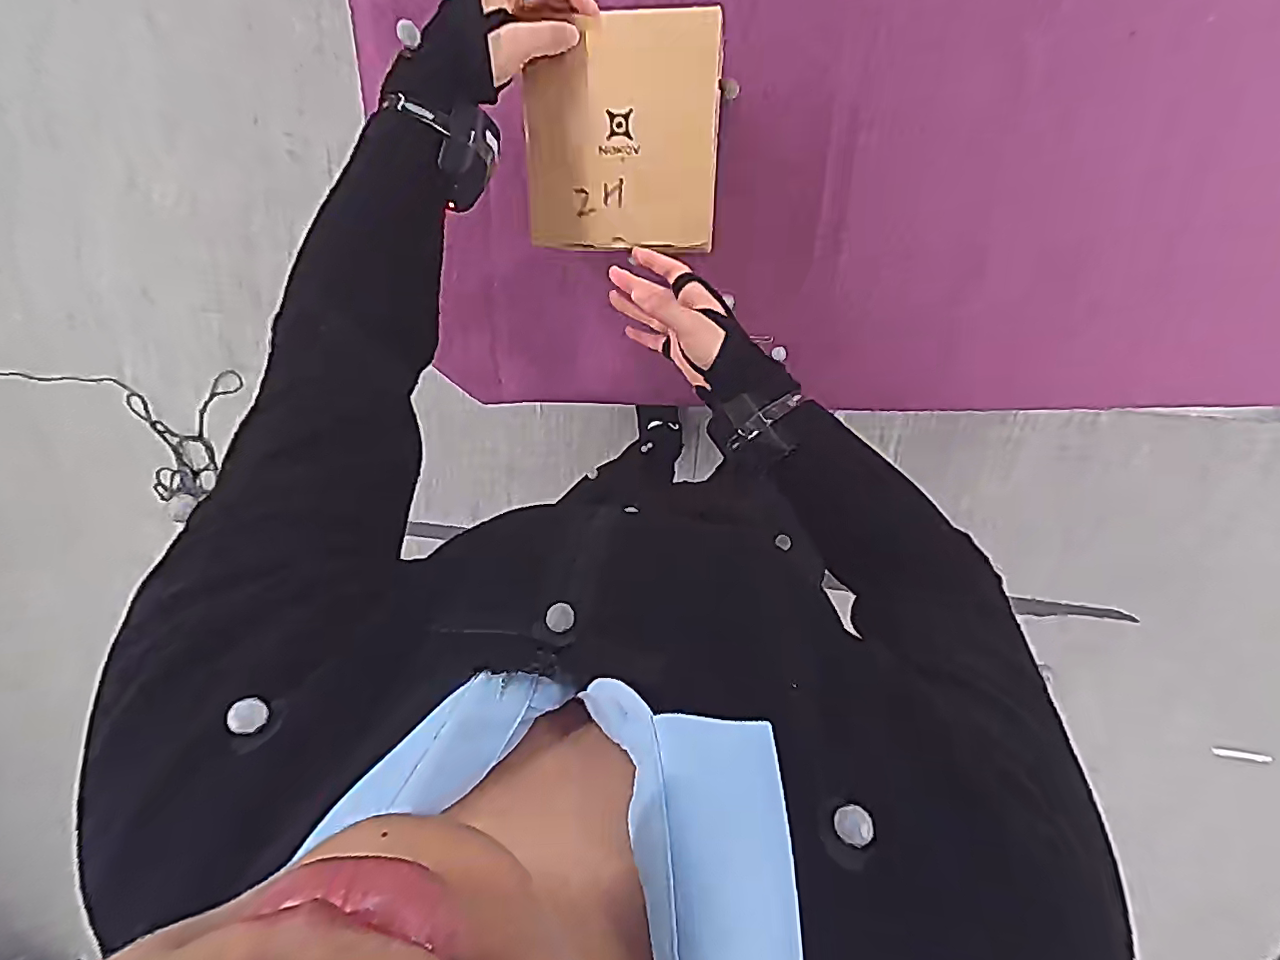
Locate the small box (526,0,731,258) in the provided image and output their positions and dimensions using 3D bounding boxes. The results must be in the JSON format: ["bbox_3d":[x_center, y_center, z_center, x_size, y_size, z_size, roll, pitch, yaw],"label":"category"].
[{"bbox_3d":[-0.005,-0.320,0.528,0.168,0.176,0.179,6,110,7],"label":"small box"}]

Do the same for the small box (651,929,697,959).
[{"bbox_3d":[0.125,1.802,1.981,0.168,0.176,0.179,0,107,6],"label":"small box"}]
